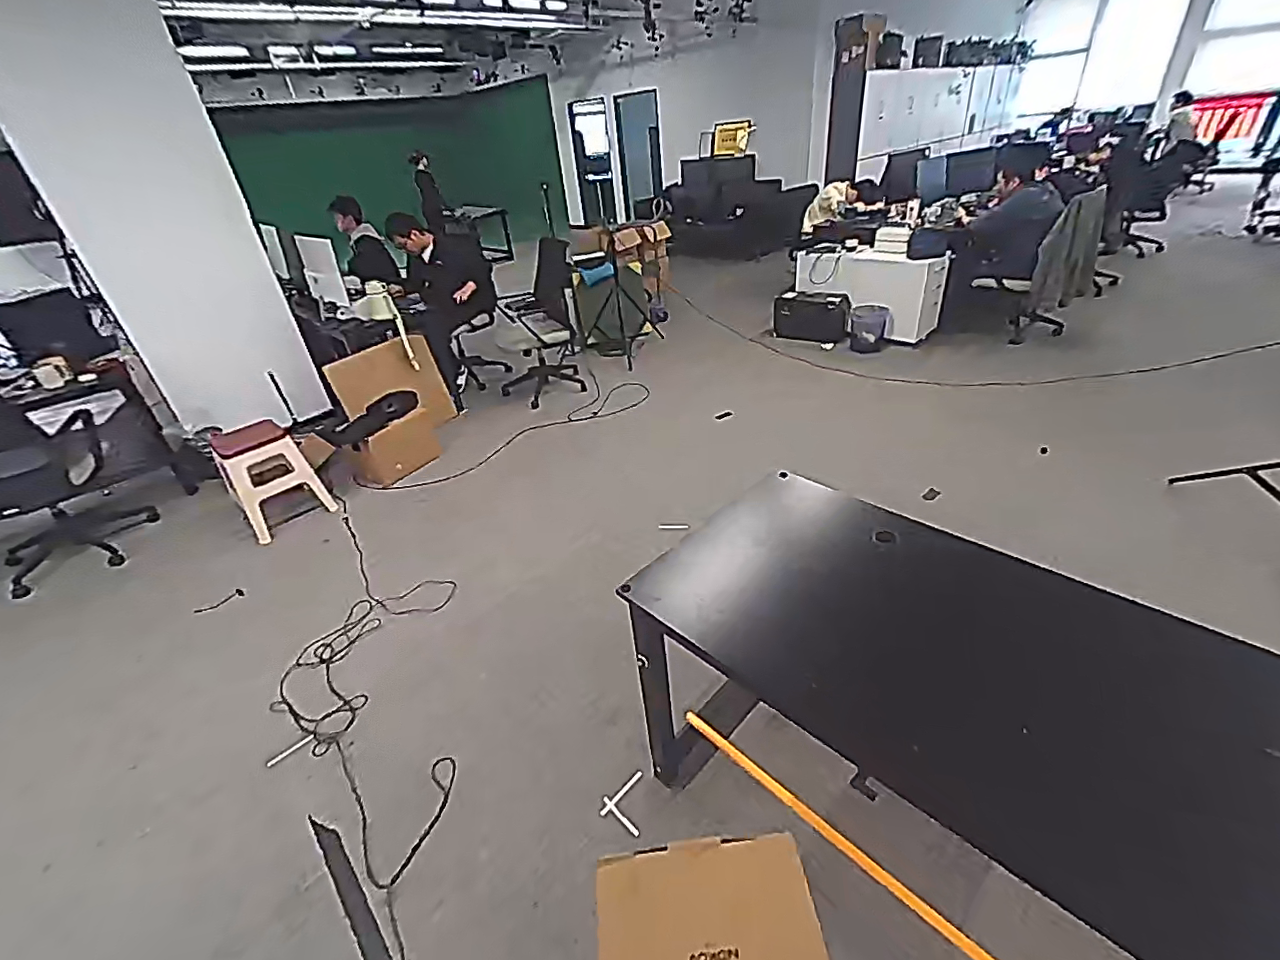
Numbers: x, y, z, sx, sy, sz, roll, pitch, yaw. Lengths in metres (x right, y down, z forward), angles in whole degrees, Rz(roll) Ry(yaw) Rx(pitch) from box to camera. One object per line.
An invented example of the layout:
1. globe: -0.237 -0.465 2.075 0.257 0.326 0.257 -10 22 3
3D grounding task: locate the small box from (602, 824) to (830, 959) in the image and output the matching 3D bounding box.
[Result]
1. small box: 0.056 0.411 0.432 0.168 0.176 0.179 -5 38 -3
